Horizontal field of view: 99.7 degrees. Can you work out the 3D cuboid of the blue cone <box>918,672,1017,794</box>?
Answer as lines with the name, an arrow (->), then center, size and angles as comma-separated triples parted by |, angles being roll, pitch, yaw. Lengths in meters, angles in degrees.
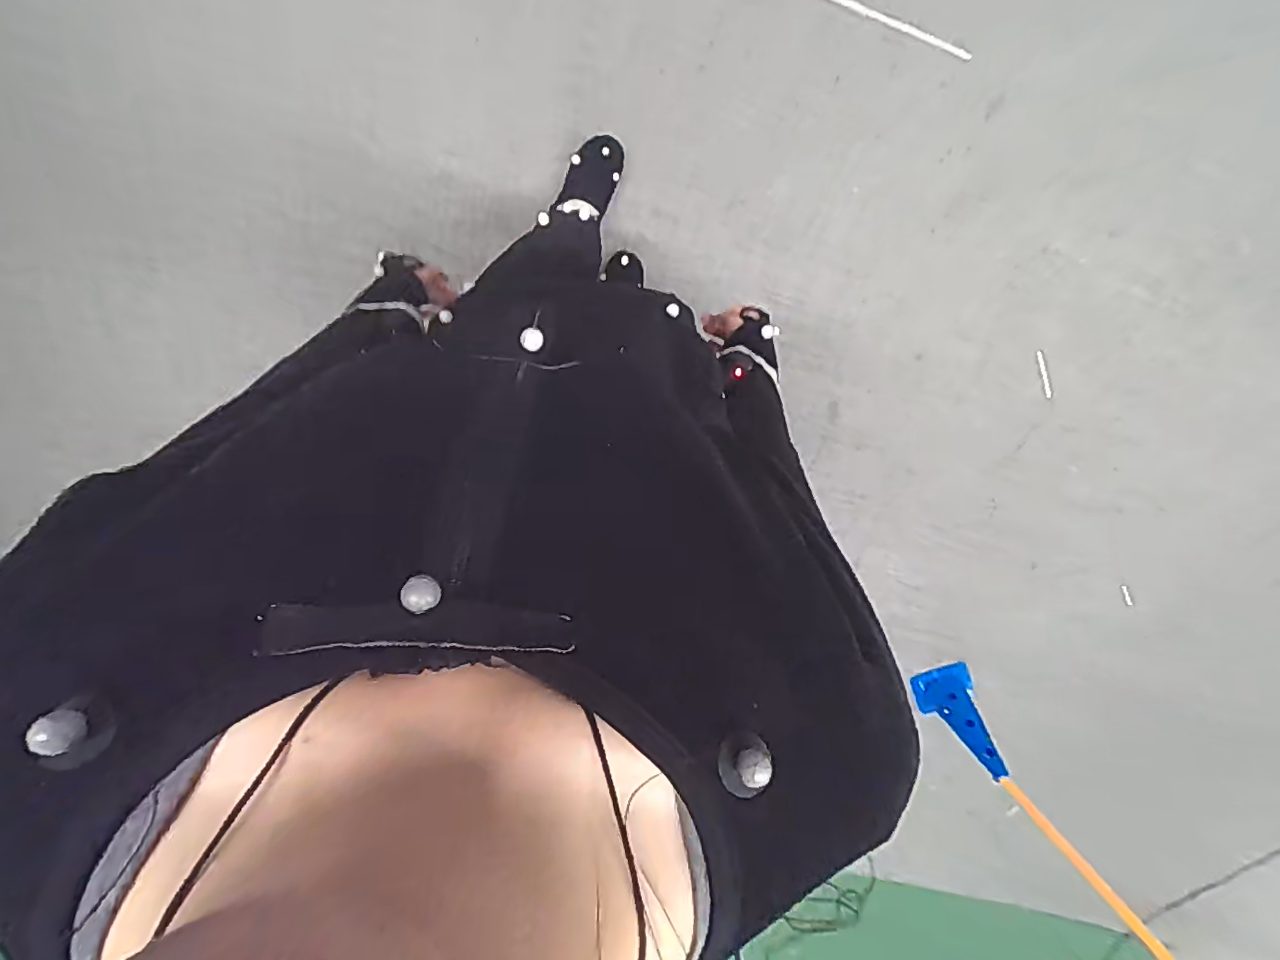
blue cone -> 1.089, 0.830, 1.757 | 0.193, 0.380, 0.192 | -25, 112, 10
